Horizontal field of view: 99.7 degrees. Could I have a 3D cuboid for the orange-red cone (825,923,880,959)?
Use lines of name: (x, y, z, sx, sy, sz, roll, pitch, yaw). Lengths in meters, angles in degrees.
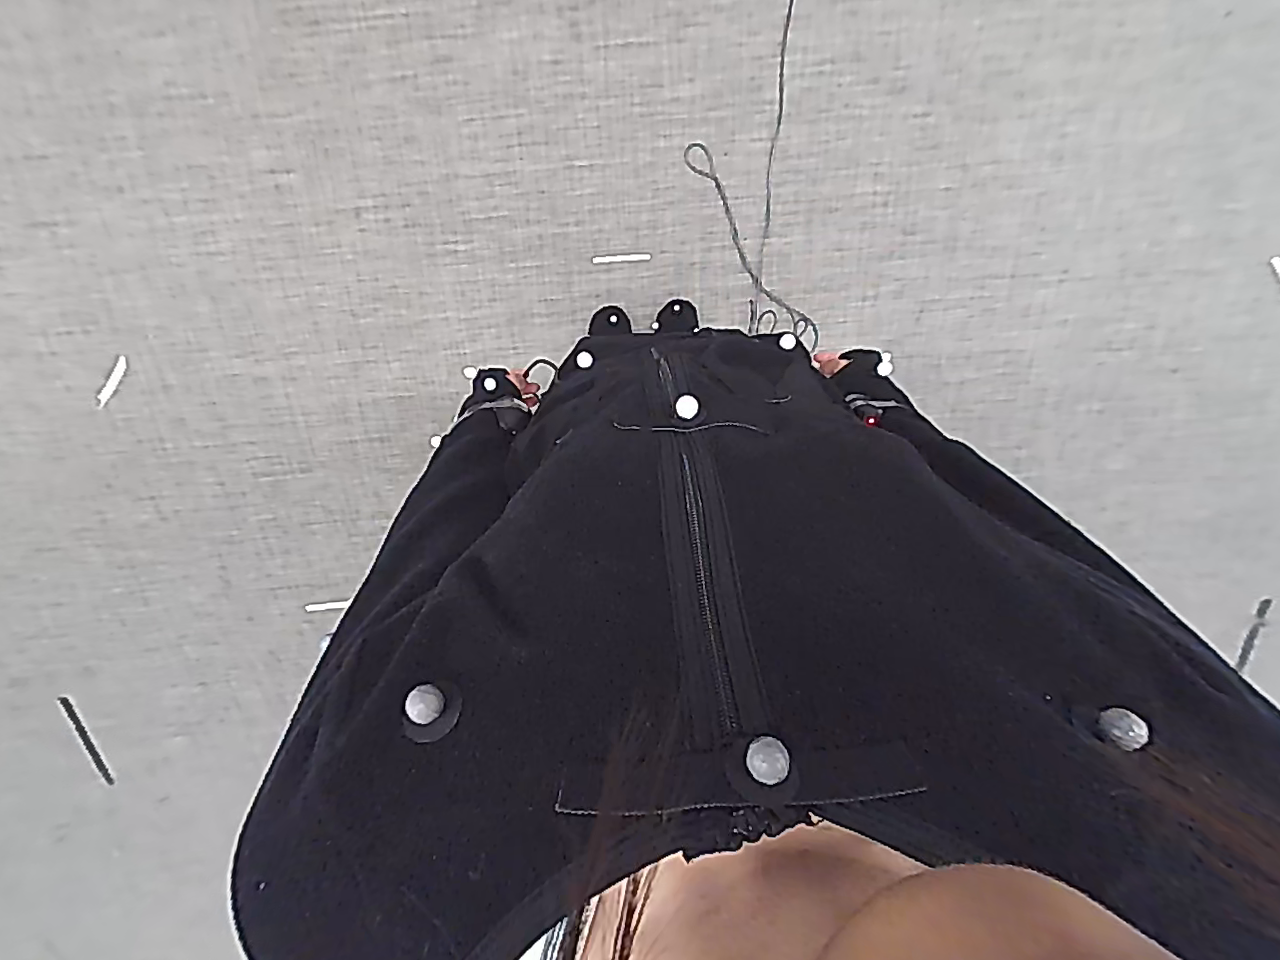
orange-red cone: (0.825, 1.850, 1.940, 0.198, 0.360, 0.199, 0, 111, 0)
